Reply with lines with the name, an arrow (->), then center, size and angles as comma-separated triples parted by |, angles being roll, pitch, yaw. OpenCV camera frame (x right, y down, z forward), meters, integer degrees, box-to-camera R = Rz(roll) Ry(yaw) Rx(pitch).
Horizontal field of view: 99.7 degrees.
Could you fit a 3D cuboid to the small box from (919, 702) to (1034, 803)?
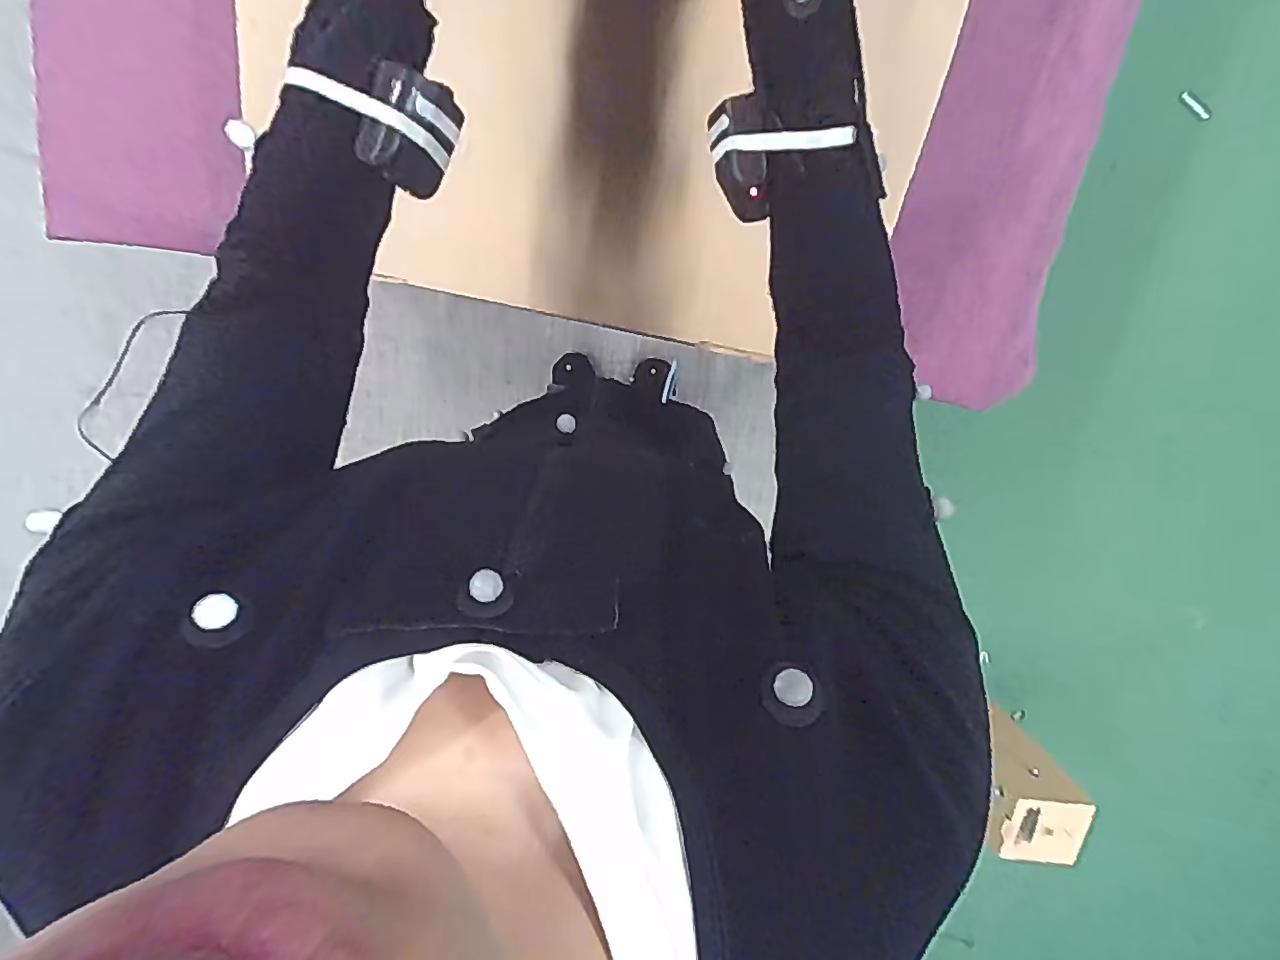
small box -> 0.876, 0.710, 1.423 | 0.179, 0.176, 0.168 | 6, 105, 0
